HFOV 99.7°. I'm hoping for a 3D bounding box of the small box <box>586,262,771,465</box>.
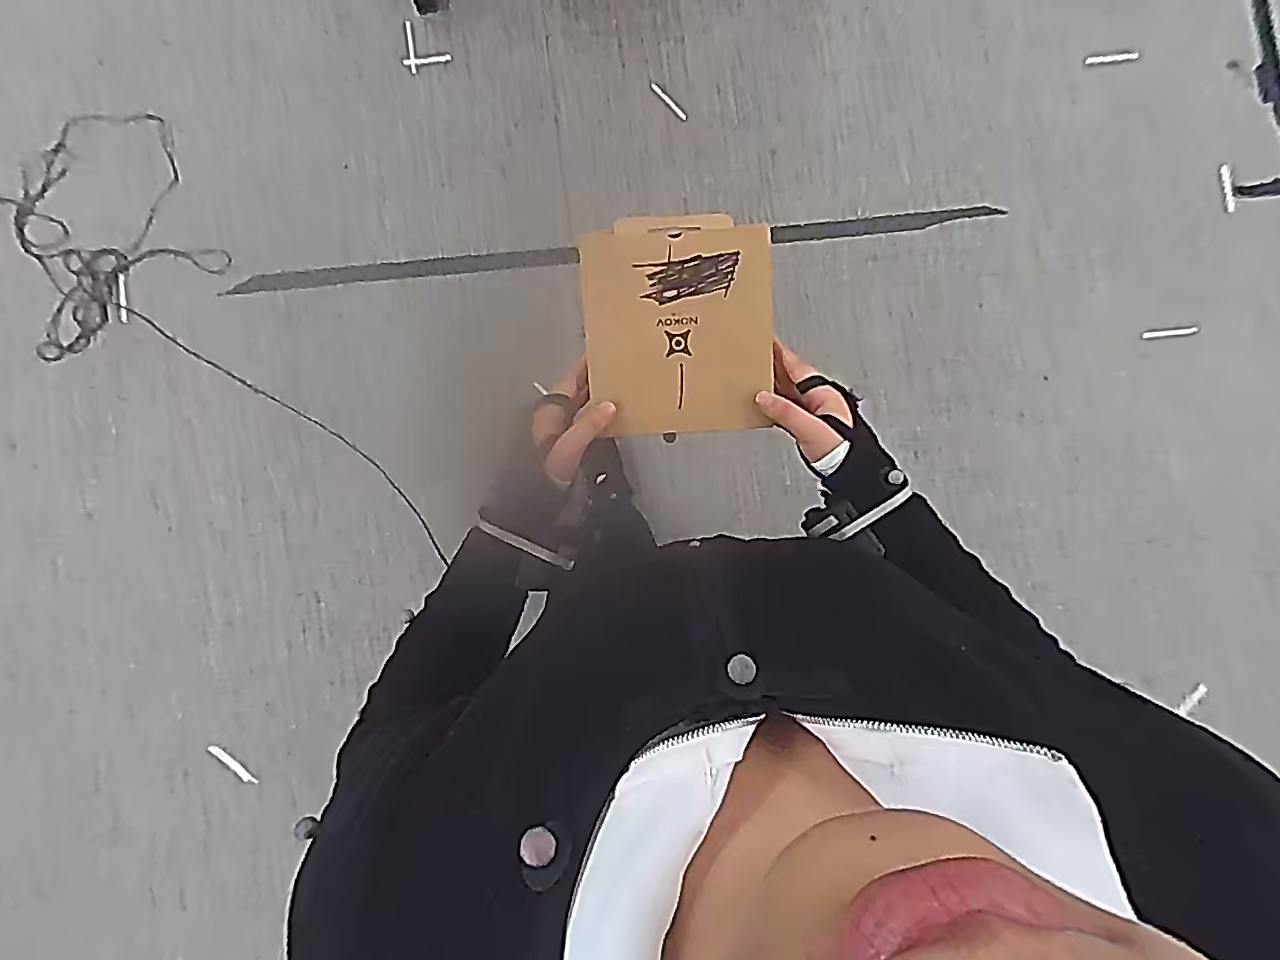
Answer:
[{"bbox_3d":[0.034,-0.114,0.566,0.168,0.176,0.179,-4,99,0],"label":"small box"}]
